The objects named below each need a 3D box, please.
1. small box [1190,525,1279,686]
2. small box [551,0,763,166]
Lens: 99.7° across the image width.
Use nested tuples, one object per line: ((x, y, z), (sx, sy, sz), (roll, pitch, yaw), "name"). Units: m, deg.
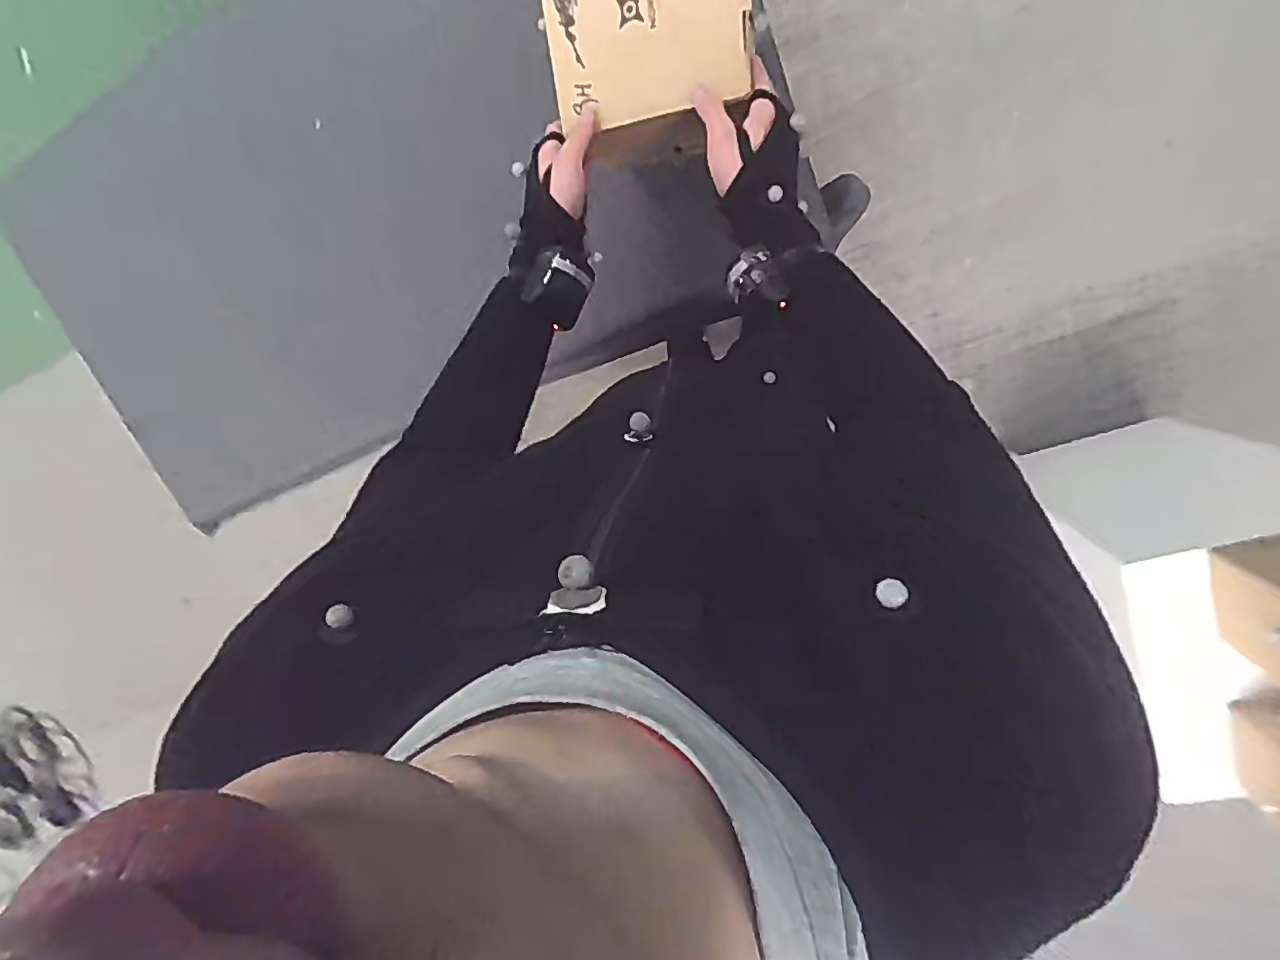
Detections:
((0.968, 0.177, 0.794), (0.168, 0.176, 0.179), (-18, 108, 15), "small box")
((0.026, -0.422, 0.524), (0.179, 0.176, 0.168), (-2, 110, 14), "small box")
